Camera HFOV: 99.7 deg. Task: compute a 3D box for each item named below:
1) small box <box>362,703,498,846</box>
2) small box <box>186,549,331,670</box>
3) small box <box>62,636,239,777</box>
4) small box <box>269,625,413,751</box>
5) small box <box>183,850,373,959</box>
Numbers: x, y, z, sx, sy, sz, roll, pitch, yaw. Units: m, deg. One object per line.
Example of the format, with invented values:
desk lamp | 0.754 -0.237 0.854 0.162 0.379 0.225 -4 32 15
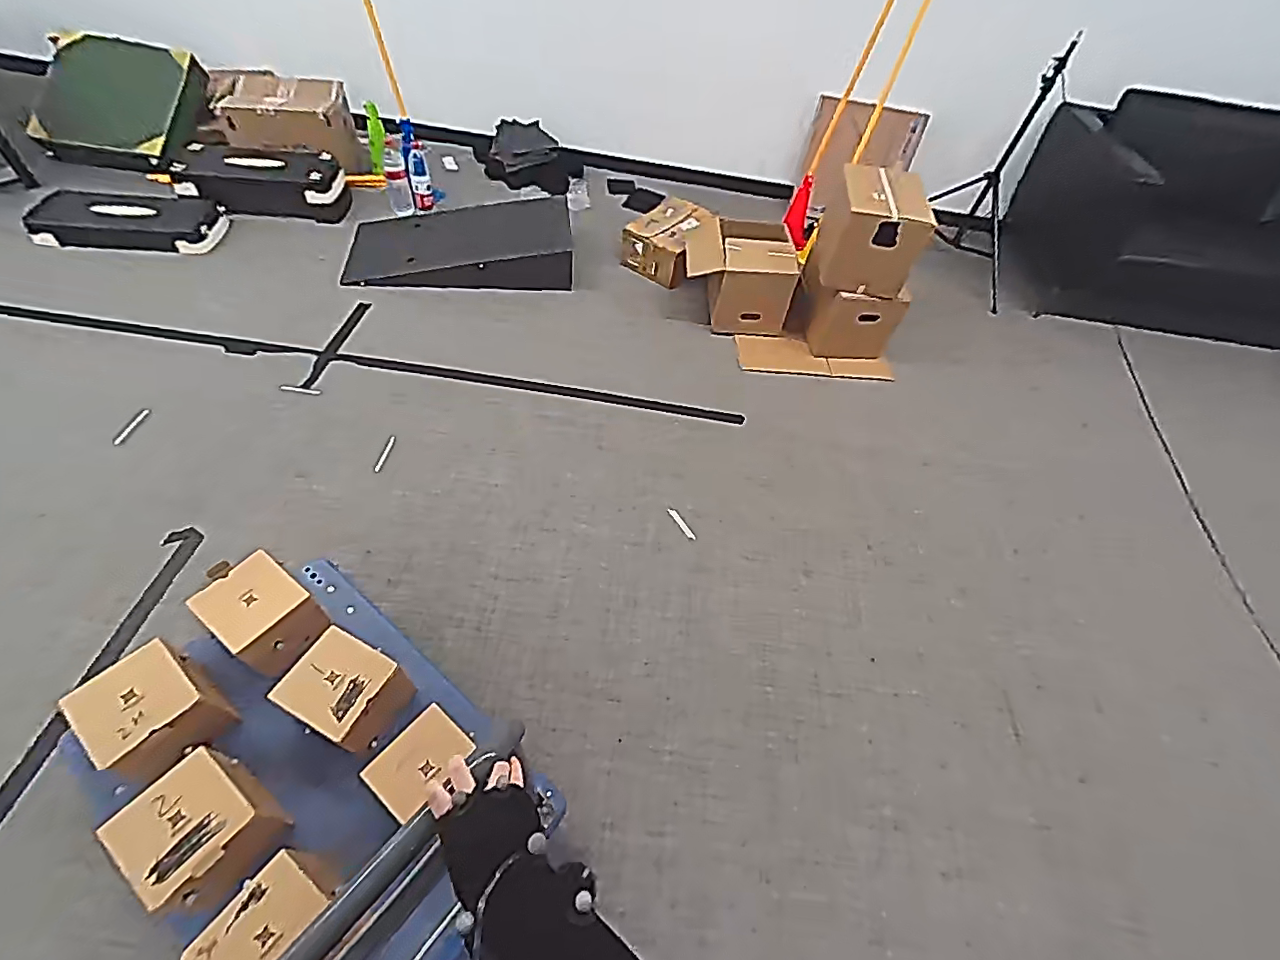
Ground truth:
small box | -0.394 0.573 1.049 0.179 0.176 0.168 36 56 18
small box | -0.822 0.291 1.186 0.179 0.176 0.168 34 56 16
small box | -0.937 0.445 1.050 0.179 0.176 0.168 38 57 17
small box | -0.601 0.435 1.115 0.179 0.176 0.168 26 54 11
small box | -0.575 0.746 0.887 0.179 0.176 0.168 33 54 15
